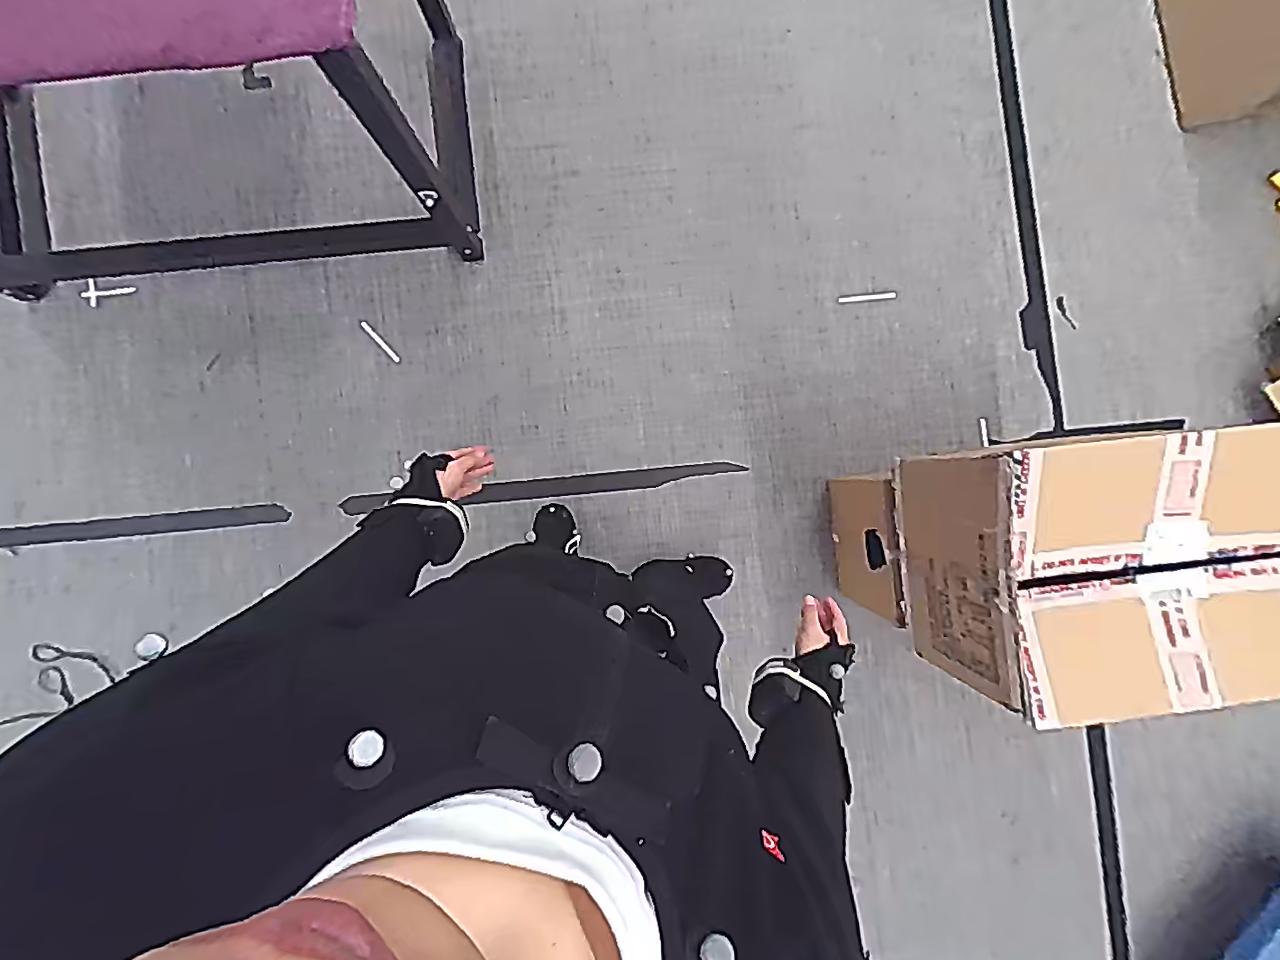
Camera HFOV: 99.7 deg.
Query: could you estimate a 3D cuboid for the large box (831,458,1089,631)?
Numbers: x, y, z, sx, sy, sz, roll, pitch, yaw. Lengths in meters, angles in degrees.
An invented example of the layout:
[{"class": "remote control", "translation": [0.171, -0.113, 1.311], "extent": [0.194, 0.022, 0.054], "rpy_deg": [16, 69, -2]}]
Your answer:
[{"class": "large box", "translation": [0.706, 0.131, 1.253], "extent": [0.408, 0.320, 0.320], "rpy_deg": [-7, 89, 0]}]
